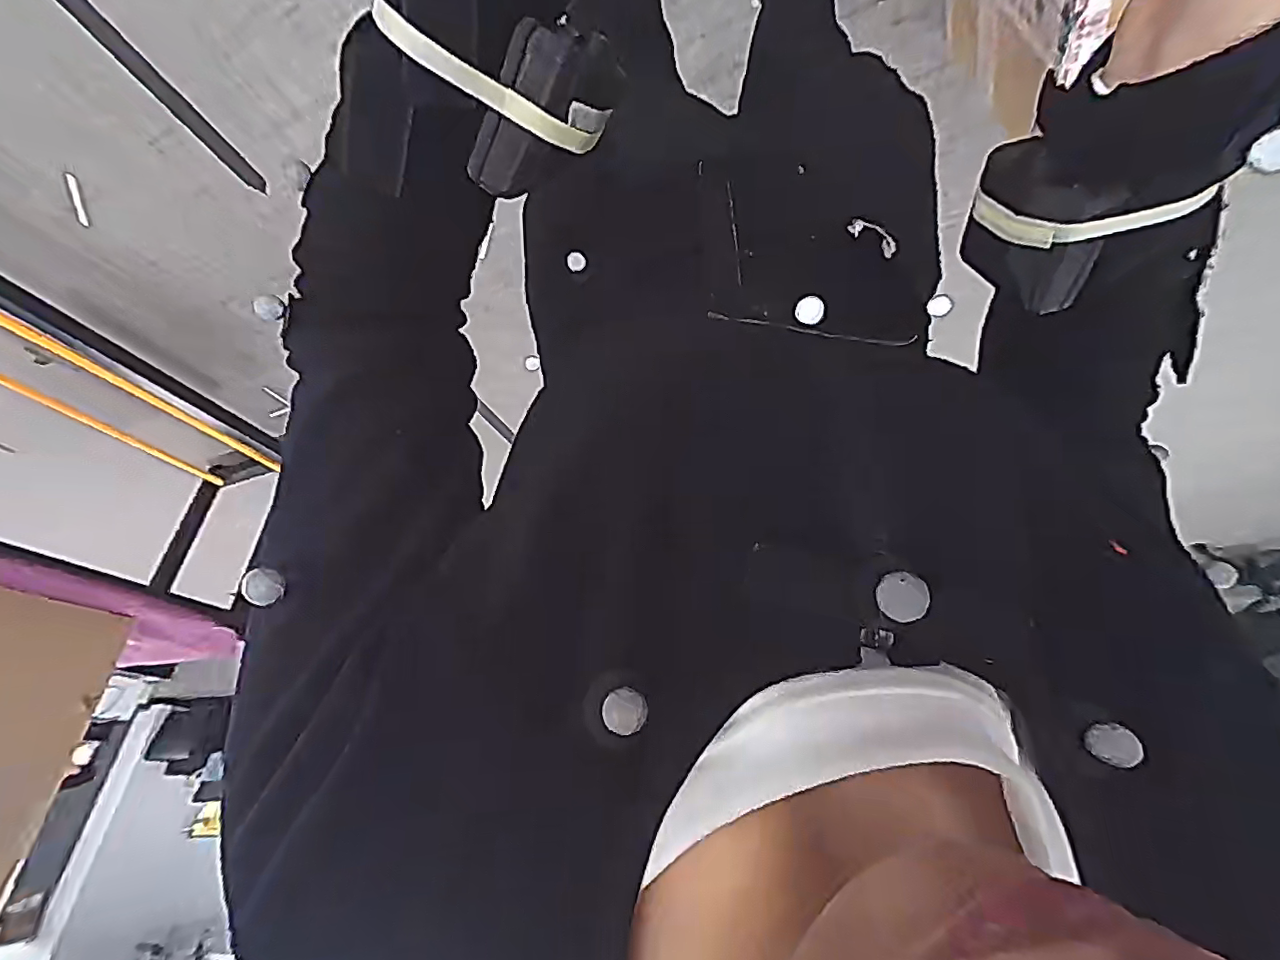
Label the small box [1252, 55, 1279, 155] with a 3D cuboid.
[{"bbox_3d":[0.741,-0.396,0.498,0.168,0.176,0.179,-13,149,23],"label":"small box"}]
